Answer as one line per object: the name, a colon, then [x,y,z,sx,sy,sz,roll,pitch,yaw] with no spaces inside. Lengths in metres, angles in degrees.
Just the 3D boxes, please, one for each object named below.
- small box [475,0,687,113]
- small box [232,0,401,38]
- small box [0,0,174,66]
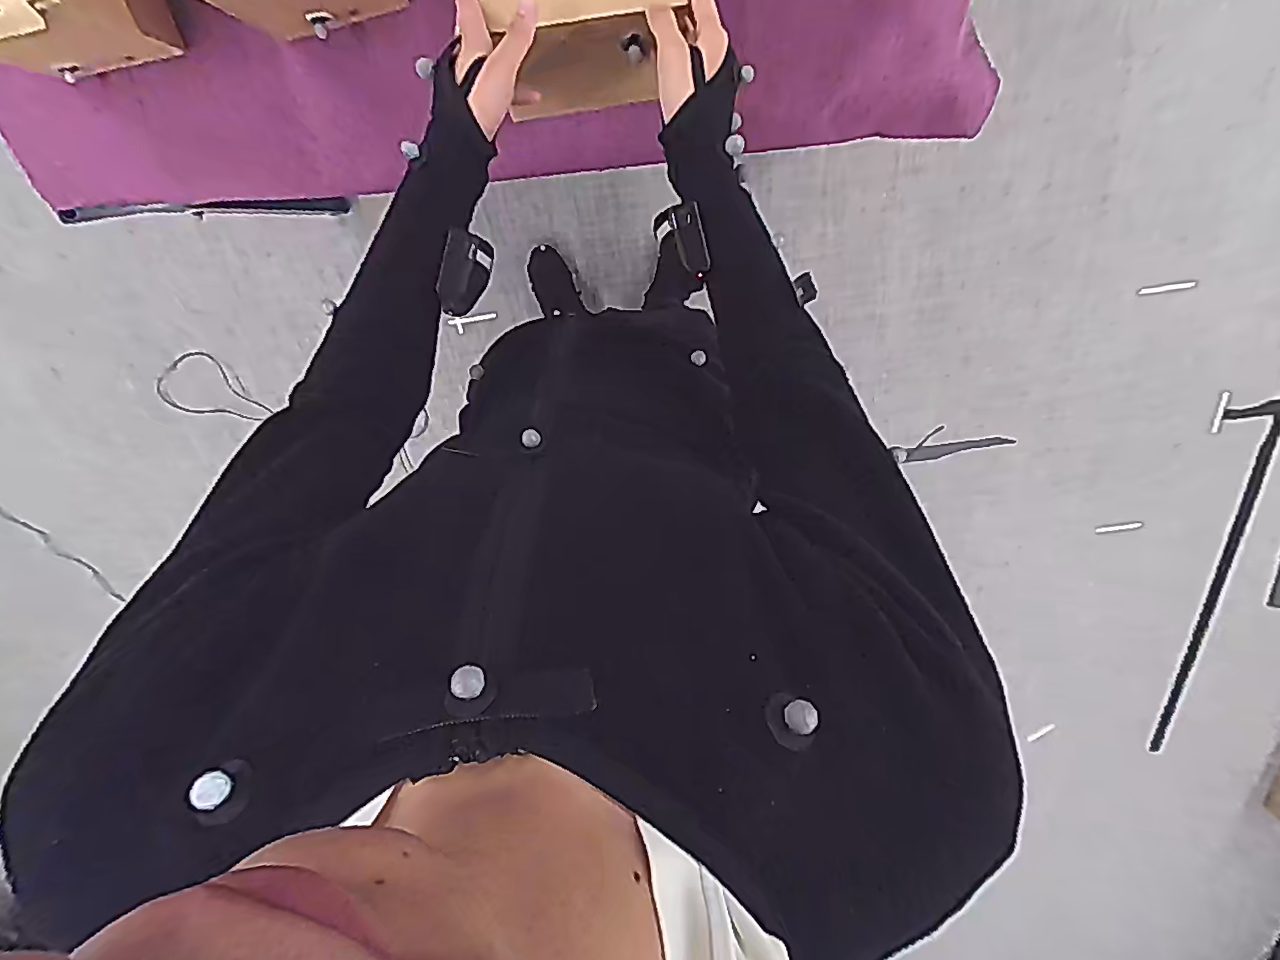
small box: [-0.064,-0.477,0.505,0.179,0.176,0.168,-10,104,-1]
small box: [-0.374,-0.595,0.544,0.168,0.176,0.179,-12,115,5]
small box: [-0.646,-0.556,0.553,0.168,0.176,0.179,-10,114,3]
